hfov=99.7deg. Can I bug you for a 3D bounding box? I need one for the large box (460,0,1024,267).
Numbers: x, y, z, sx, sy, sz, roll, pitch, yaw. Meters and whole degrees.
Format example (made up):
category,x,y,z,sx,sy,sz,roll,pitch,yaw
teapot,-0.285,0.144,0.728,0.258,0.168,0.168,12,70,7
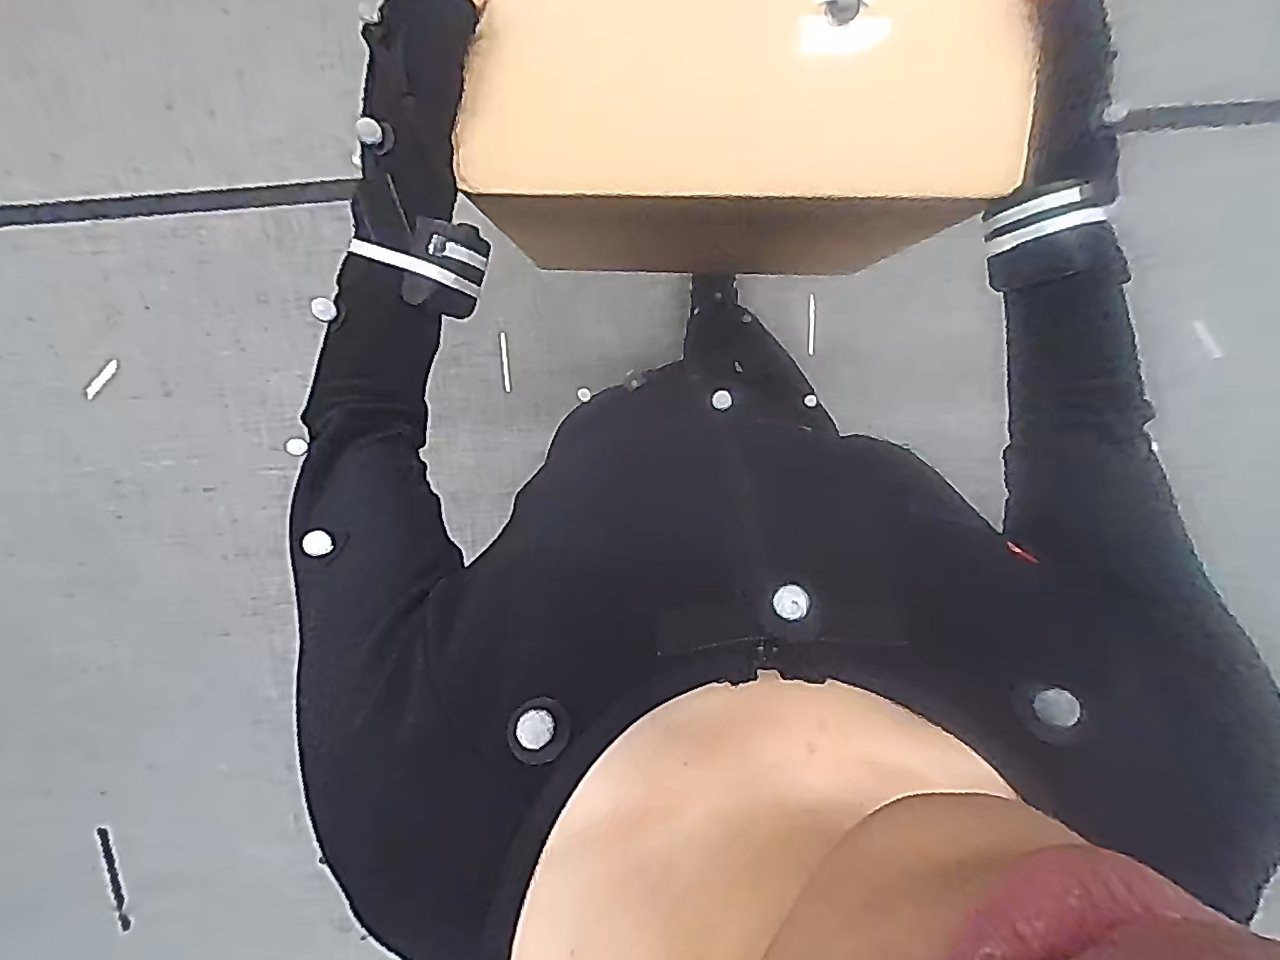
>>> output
category,x,y,z,sx,sy,sz,roll,pitch,yaw
large box,0.069,-0.399,0.519,0.408,0.320,0.320,0,101,0
